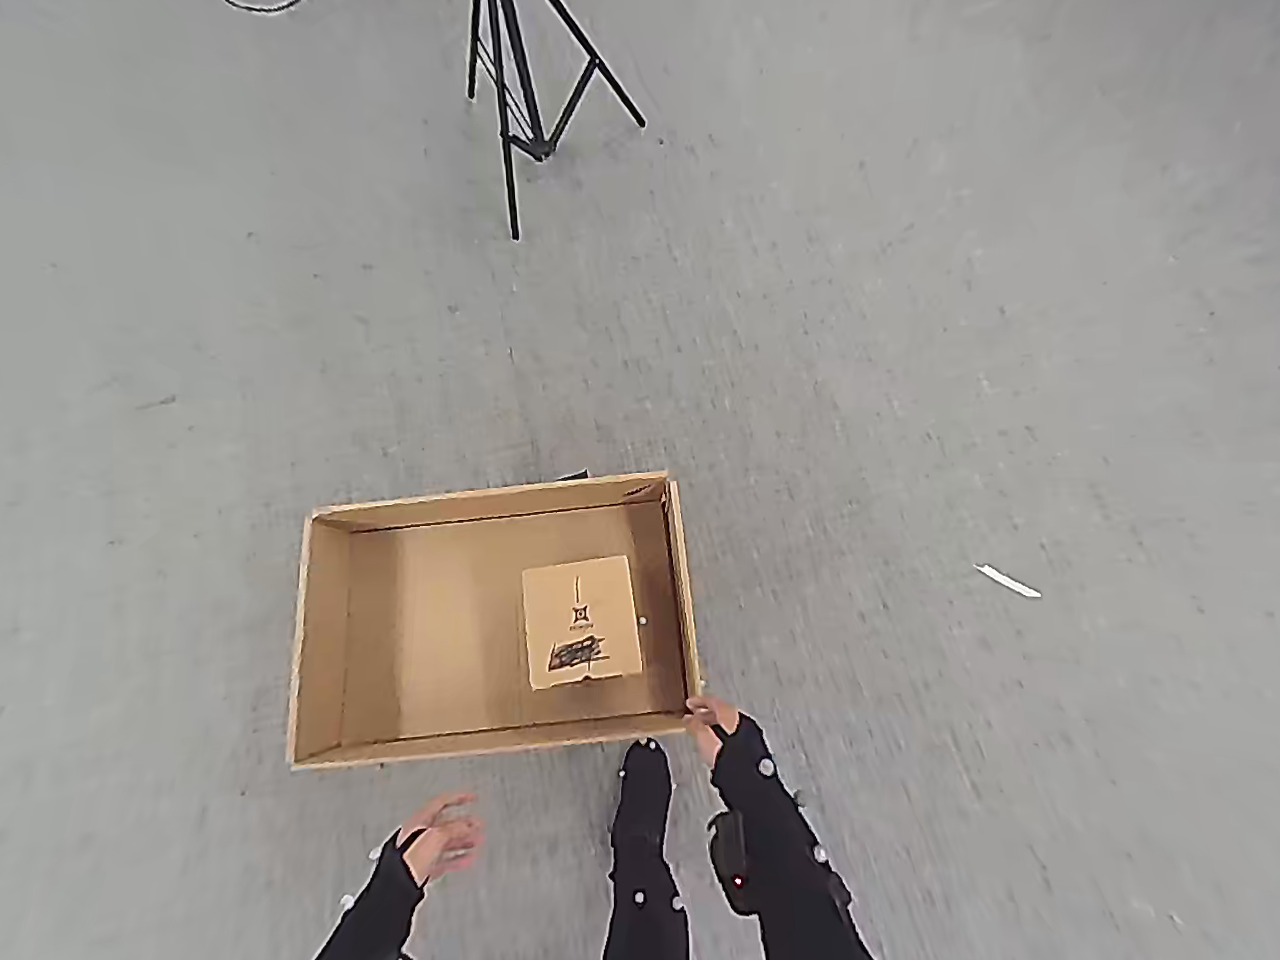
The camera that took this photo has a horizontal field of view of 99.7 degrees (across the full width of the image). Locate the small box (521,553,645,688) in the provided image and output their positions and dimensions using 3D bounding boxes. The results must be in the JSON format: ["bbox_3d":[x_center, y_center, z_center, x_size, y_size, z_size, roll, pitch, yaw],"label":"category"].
[{"bbox_3d":[-0.085,0.224,0.866,0.168,0.176,0.179,-8,73,-1],"label":"small box"}]
